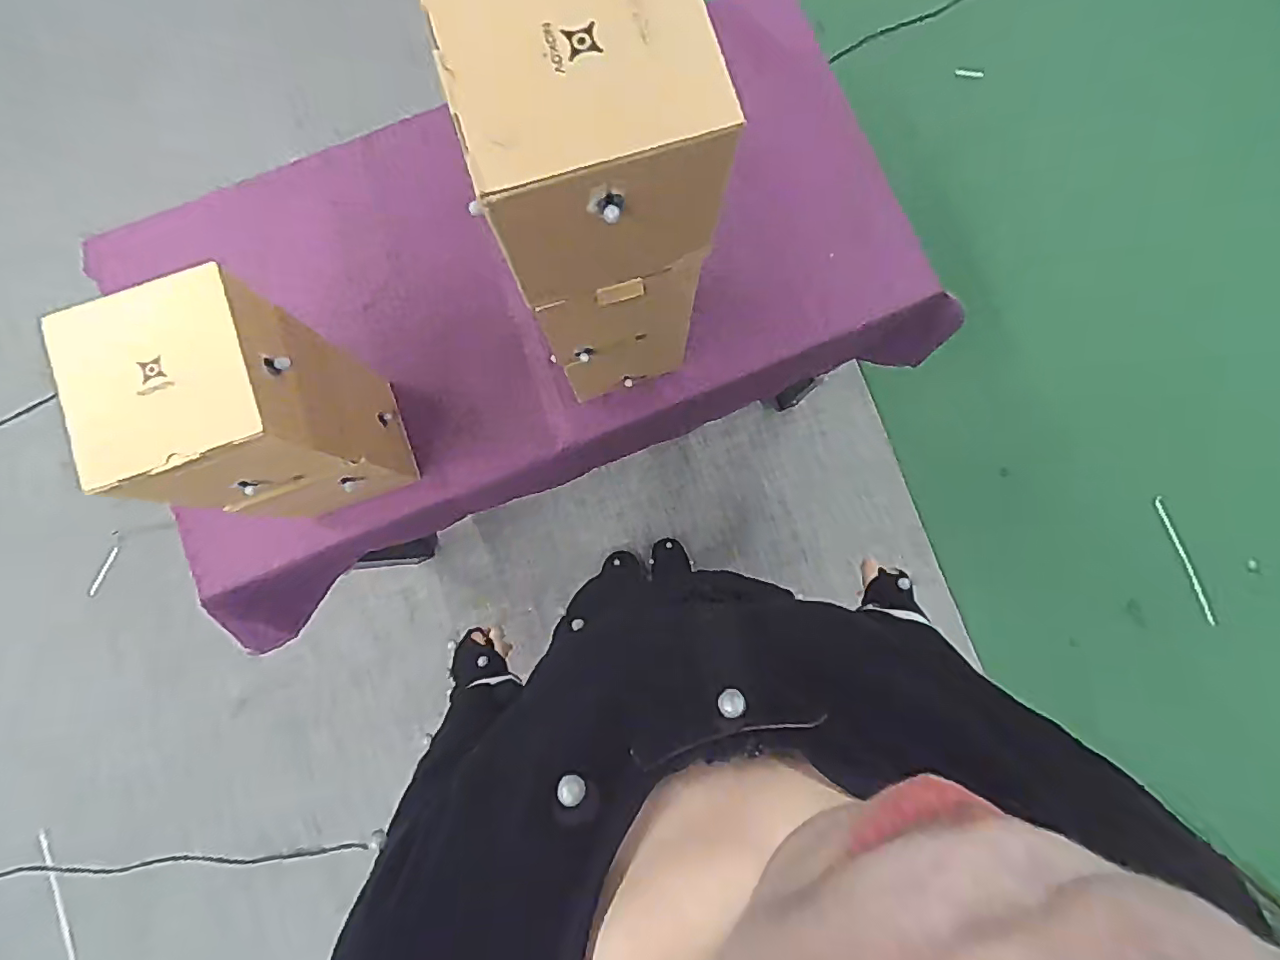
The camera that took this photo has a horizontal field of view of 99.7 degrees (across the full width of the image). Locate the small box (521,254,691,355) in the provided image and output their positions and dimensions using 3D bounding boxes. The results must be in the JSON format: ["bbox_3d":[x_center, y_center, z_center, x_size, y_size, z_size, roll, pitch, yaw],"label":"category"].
[{"bbox_3d":[-0.050,-0.252,0.587,0.168,0.176,0.179,-18,82,-1],"label":"small box"}]

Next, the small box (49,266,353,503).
[{"bbox_3d":[-0.442,-0.086,0.573,0.168,0.176,0.179,-20,84,-2],"label":"small box"}]

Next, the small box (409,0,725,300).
[{"bbox_3d":[-0.048,-0.266,0.424,0.179,0.176,0.168,-16,85,-2],"label":"small box"}]

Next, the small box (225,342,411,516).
[{"bbox_3d":[-0.435,-0.058,0.733,0.179,0.176,0.168,-20,83,-2],"label":"small box"}]
